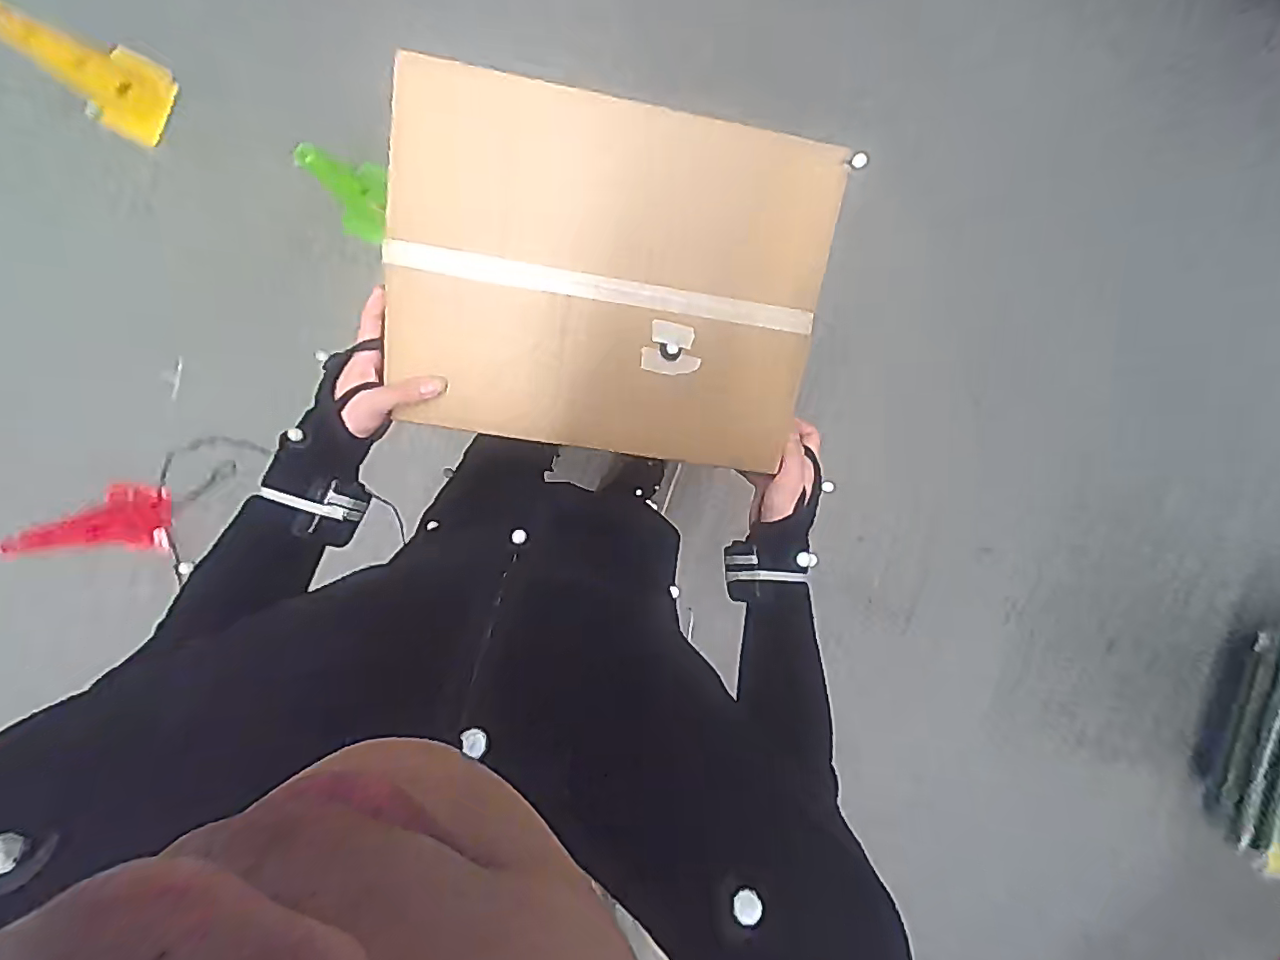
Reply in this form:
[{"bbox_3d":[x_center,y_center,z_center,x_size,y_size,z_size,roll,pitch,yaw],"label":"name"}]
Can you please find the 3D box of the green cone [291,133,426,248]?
[{"bbox_3d":[-0.732,-0.763,1.358,0.202,0.368,0.200,26,98,-1],"label":"green cone"}]
